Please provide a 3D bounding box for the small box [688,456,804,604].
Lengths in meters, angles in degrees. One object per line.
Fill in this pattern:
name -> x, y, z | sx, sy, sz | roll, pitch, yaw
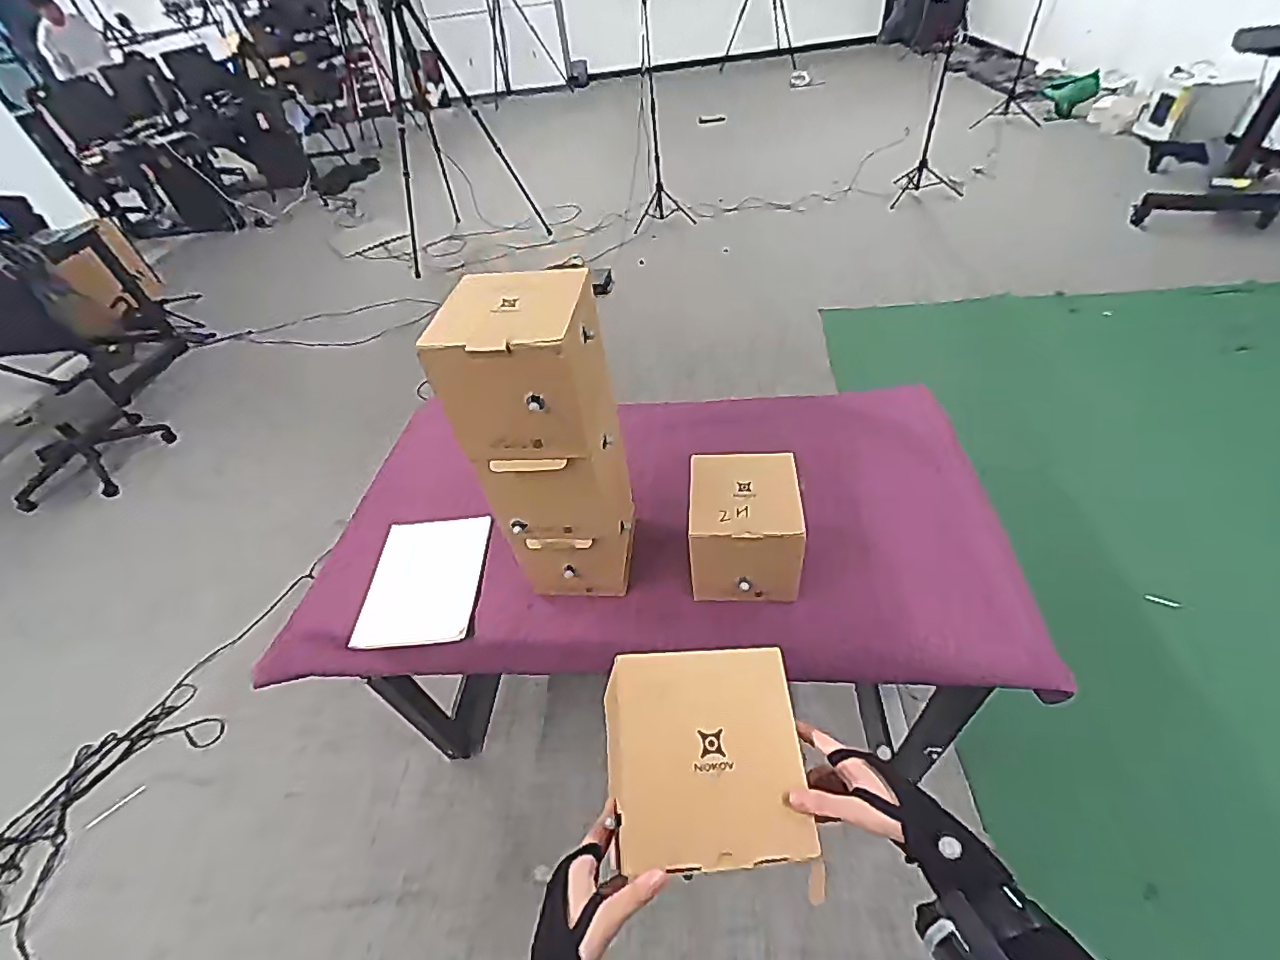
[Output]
small box -> 0.167, 0.080, 0.881 | 0.168, 0.176, 0.179 | -2, 44, 9

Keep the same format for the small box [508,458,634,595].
small box -> -0.105, 0.081, 0.925 | 0.168, 0.176, 0.179 | 0, 46, 8

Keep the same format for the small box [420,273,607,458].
small box -> -0.142, -0.141, 0.687 | 0.168, 0.176, 0.179 | 0, 45, 8

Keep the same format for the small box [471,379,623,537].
small box -> -0.123, -0.030, 0.805 | 0.168, 0.176, 0.179 | -1, 44, 8
